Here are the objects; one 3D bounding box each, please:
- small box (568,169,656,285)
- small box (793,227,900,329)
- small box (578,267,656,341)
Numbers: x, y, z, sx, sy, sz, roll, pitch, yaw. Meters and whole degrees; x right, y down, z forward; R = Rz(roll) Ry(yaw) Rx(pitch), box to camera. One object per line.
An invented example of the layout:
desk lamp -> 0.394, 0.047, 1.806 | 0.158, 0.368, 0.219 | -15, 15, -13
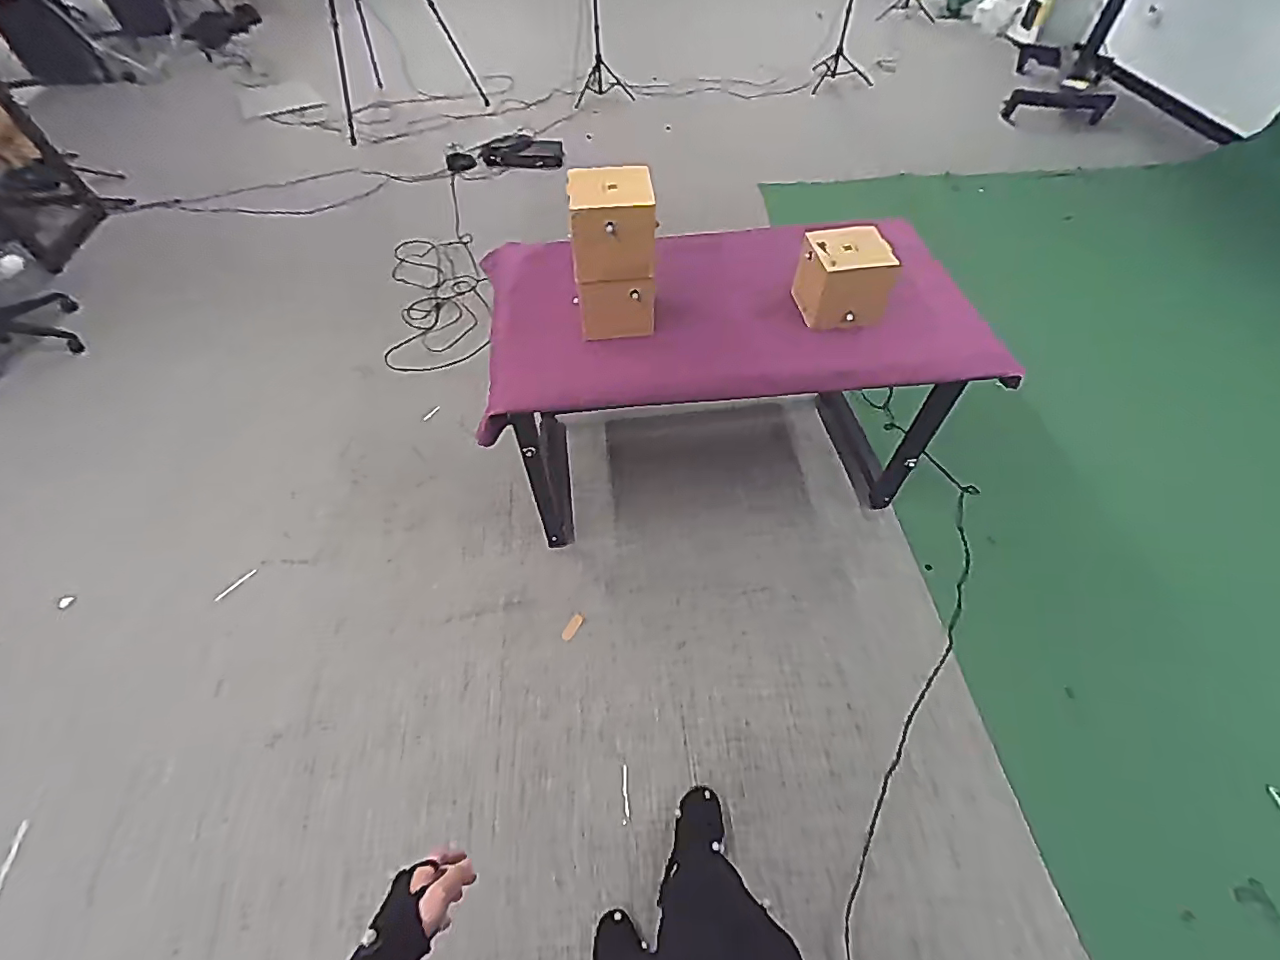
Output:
small box -> -0.061, -0.550, 1.184 | 0.179, 0.176, 0.168 | -6, 55, -2
small box -> 0.496, -0.492, 1.325 | 0.179, 0.176, 0.168 | -7, 54, -3
small box -> -0.058, -0.459, 1.318 | 0.179, 0.176, 0.168 | -5, 54, -3
